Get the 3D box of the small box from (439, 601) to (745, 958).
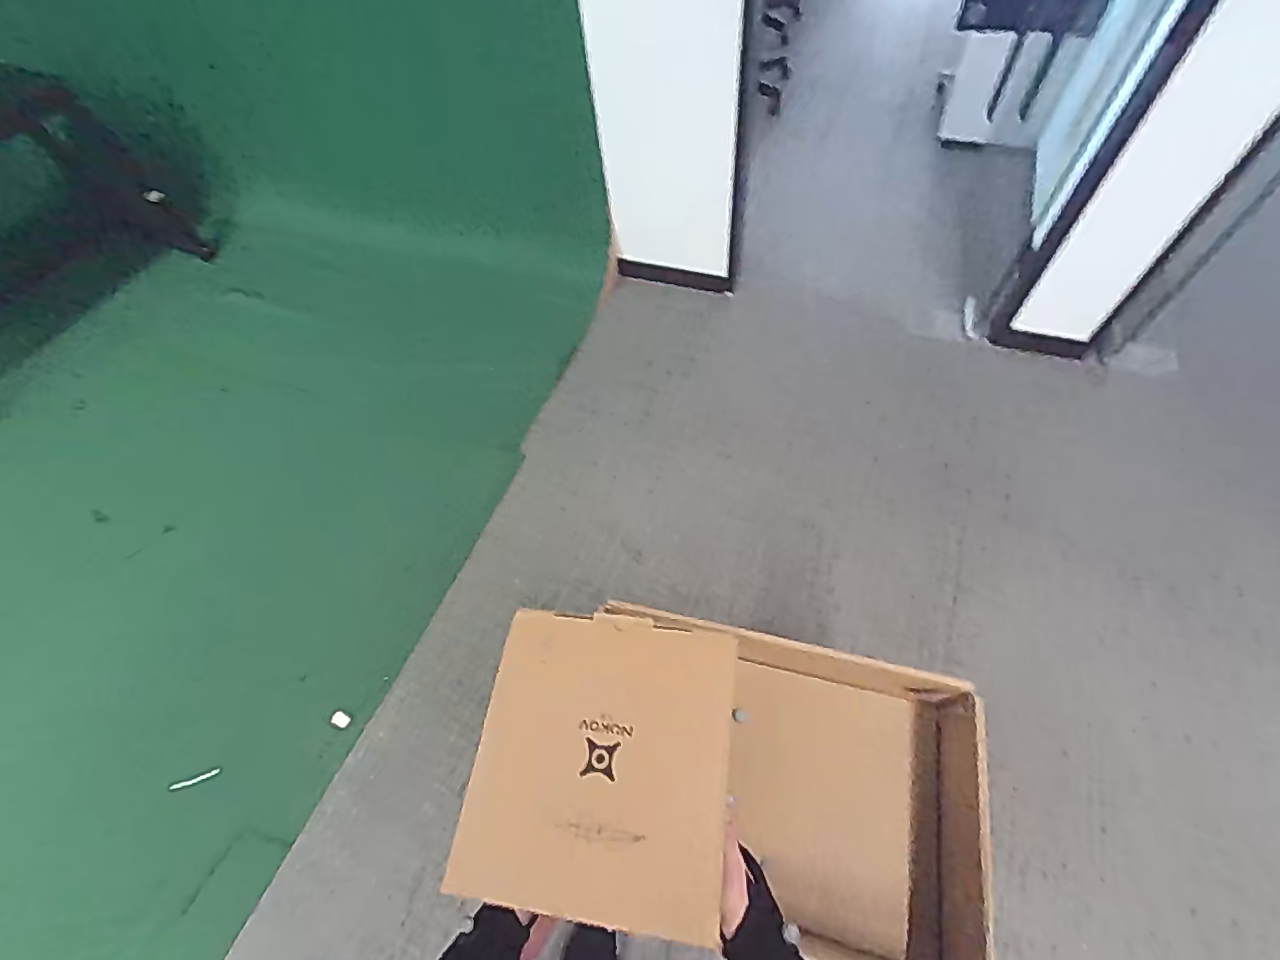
[{"bbox_3d":[-0.017,0.208,0.405,0.168,0.176,0.179,5,61,9],"label":"small box"}]
